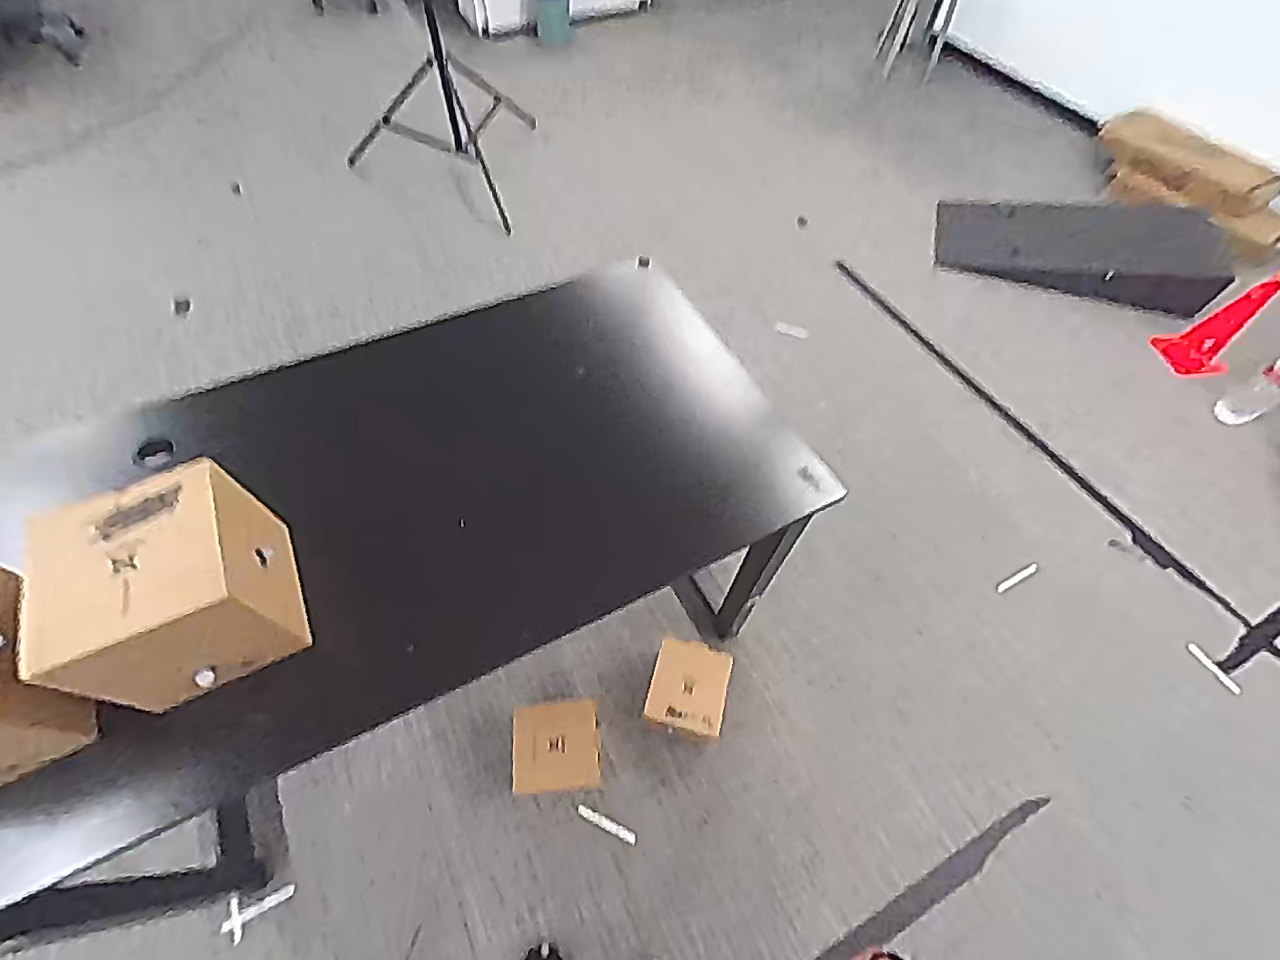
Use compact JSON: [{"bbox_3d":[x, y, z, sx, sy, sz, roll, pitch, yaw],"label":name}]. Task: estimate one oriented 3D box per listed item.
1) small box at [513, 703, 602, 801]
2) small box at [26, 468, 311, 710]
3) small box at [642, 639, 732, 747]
[{"bbox_3d":[-0.175,0.592,1.174,0.179,0.176,0.168,-5,57,-5],"label":"small box"},{"bbox_3d":[-0.495,0.123,0.591,0.168,0.176,0.179,-24,62,-16],"label":"small box"},{"bbox_3d":[0.104,0.493,1.245,0.168,0.176,0.179,14,58,7],"label":"small box"}]
